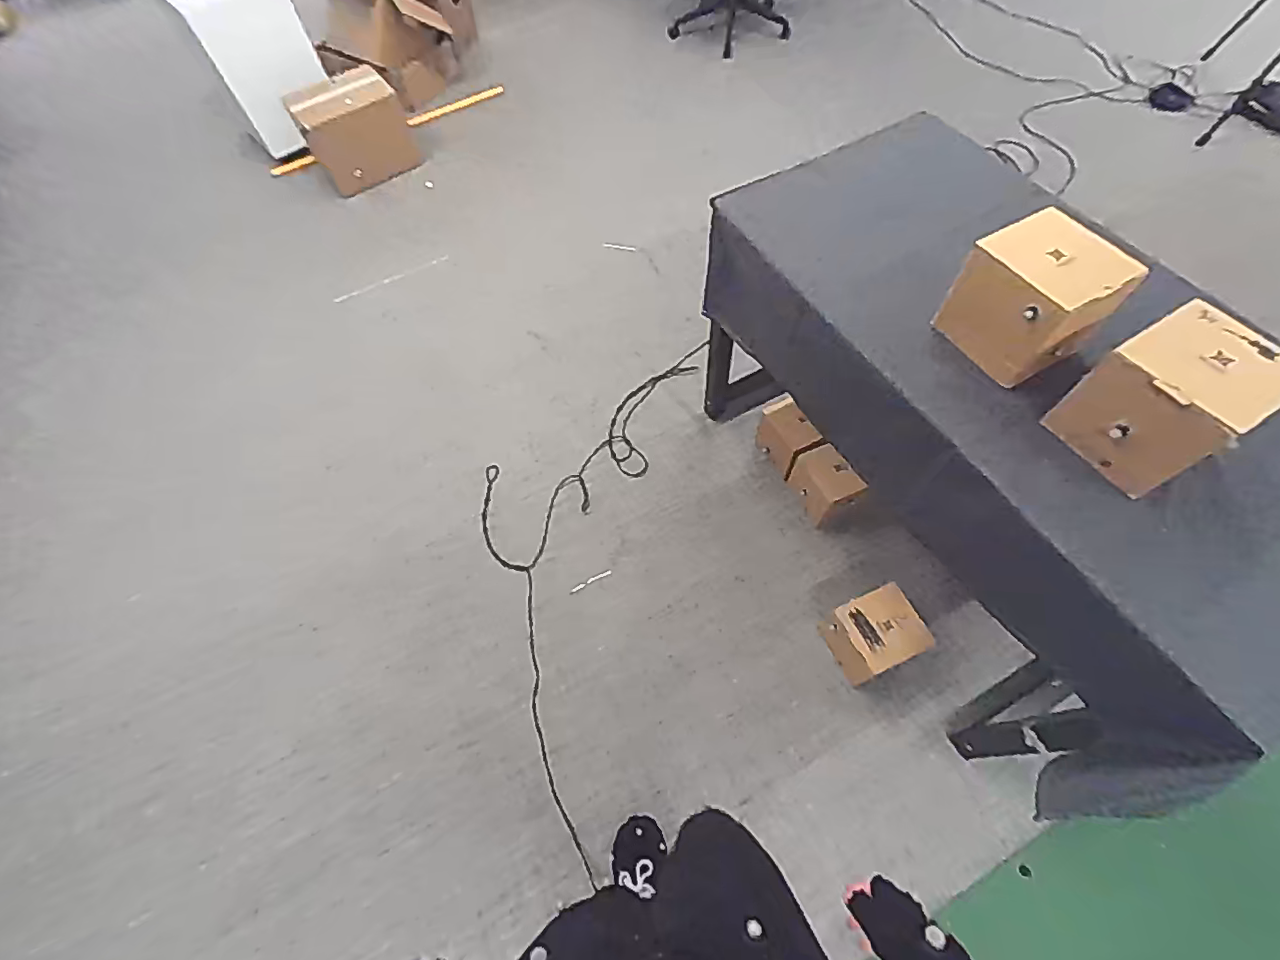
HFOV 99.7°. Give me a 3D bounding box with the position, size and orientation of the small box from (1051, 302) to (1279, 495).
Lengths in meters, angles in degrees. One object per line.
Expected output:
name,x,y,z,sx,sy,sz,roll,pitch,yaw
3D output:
small box,0.734,-0.107,0.760,0.179,0.176,0.168,-28,63,-12
